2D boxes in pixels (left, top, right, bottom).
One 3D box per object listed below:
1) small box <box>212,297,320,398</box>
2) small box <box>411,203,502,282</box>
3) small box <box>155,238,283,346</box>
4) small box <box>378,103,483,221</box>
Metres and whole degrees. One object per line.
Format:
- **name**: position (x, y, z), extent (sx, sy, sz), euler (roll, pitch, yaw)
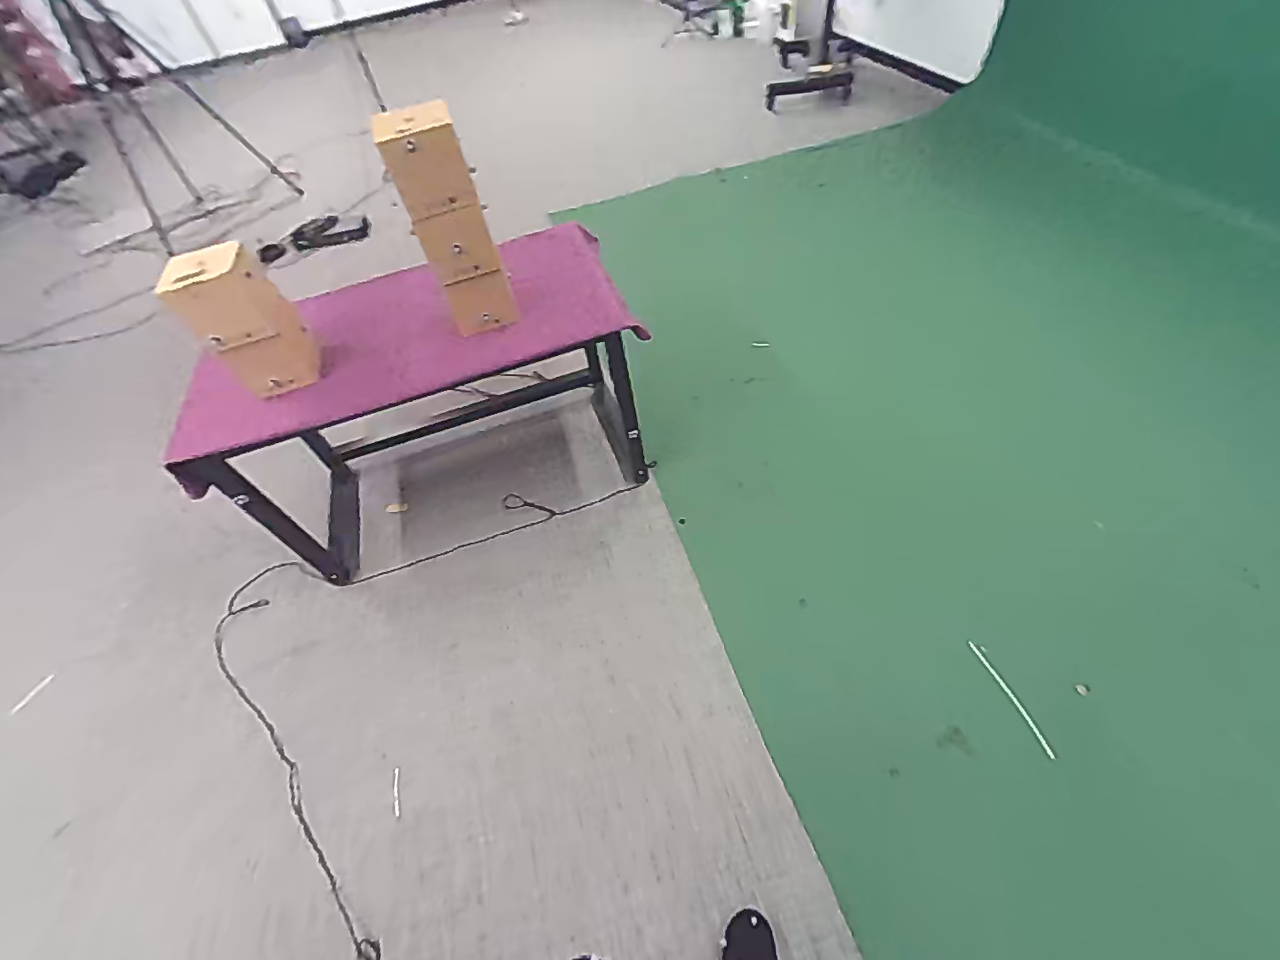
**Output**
- **small box**: position (-0.971, -0.347, 1.423), extent (0.168, 0.176, 0.179), euler (-18, 52, -6)
- **small box**: position (-0.456, -0.615, 1.352), extent (0.168, 0.176, 0.179), euler (-17, 51, -6)
- **small box**: position (-0.989, -0.441, 1.290), extent (0.168, 0.176, 0.179), euler (-18, 50, -6)
- **small box**: position (-0.472, -0.719, 1.226), extent (0.168, 0.176, 0.179), euler (-20, 51, -6)
